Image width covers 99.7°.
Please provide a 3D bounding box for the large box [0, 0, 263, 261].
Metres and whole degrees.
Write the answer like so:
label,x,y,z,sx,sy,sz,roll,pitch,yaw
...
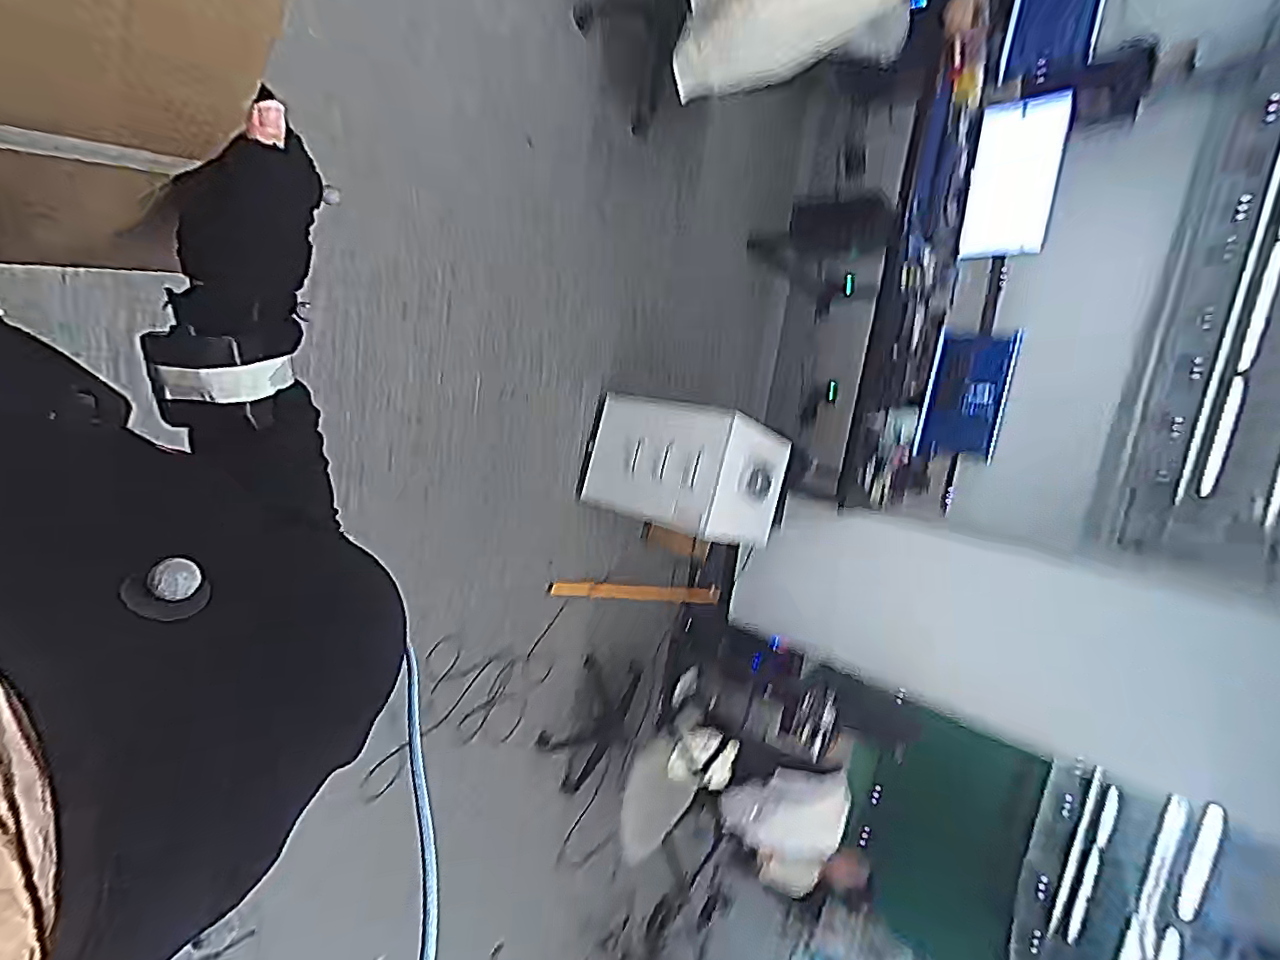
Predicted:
label,x,y,z,sx,sy,sz,roll,pitch,yaw
large box,-0.408,-0.281,0.154,0.408,0.320,0.320,-21,98,-45
